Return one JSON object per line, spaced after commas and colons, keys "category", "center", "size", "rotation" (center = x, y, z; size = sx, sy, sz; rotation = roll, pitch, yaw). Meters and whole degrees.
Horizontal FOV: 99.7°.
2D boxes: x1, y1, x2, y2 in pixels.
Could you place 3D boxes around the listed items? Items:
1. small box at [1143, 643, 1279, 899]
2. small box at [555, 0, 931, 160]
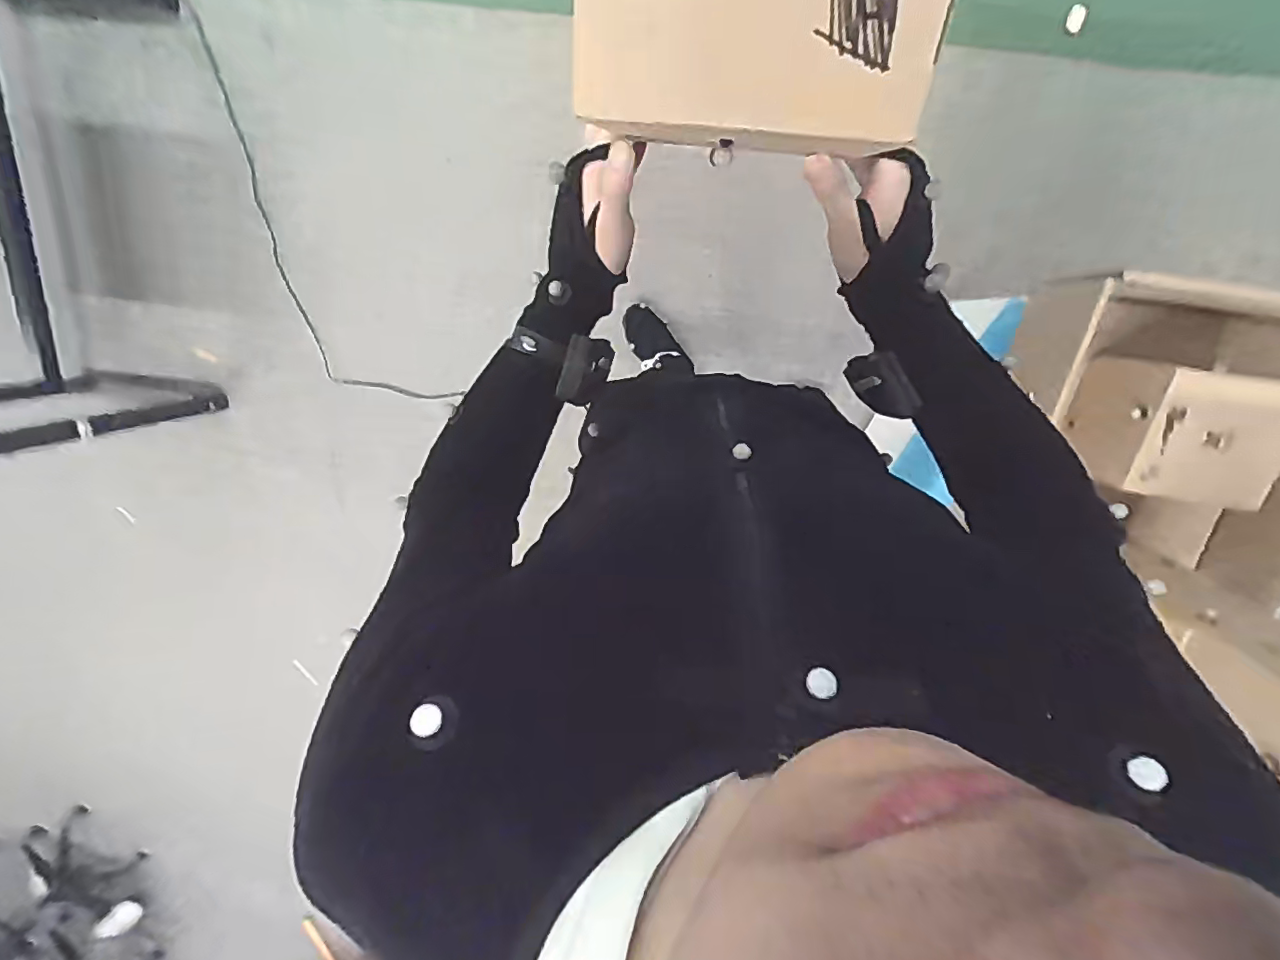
{"category": "small box", "center": [0.672, 0.291, 0.538], "size": [0.168, 0.176, 0.179], "rotation": [12, 108, 5]}
{"category": "small box", "center": [0.059, -0.287, 0.308], "size": [0.179, 0.176, 0.168], "rotation": [8, 118, 7]}
